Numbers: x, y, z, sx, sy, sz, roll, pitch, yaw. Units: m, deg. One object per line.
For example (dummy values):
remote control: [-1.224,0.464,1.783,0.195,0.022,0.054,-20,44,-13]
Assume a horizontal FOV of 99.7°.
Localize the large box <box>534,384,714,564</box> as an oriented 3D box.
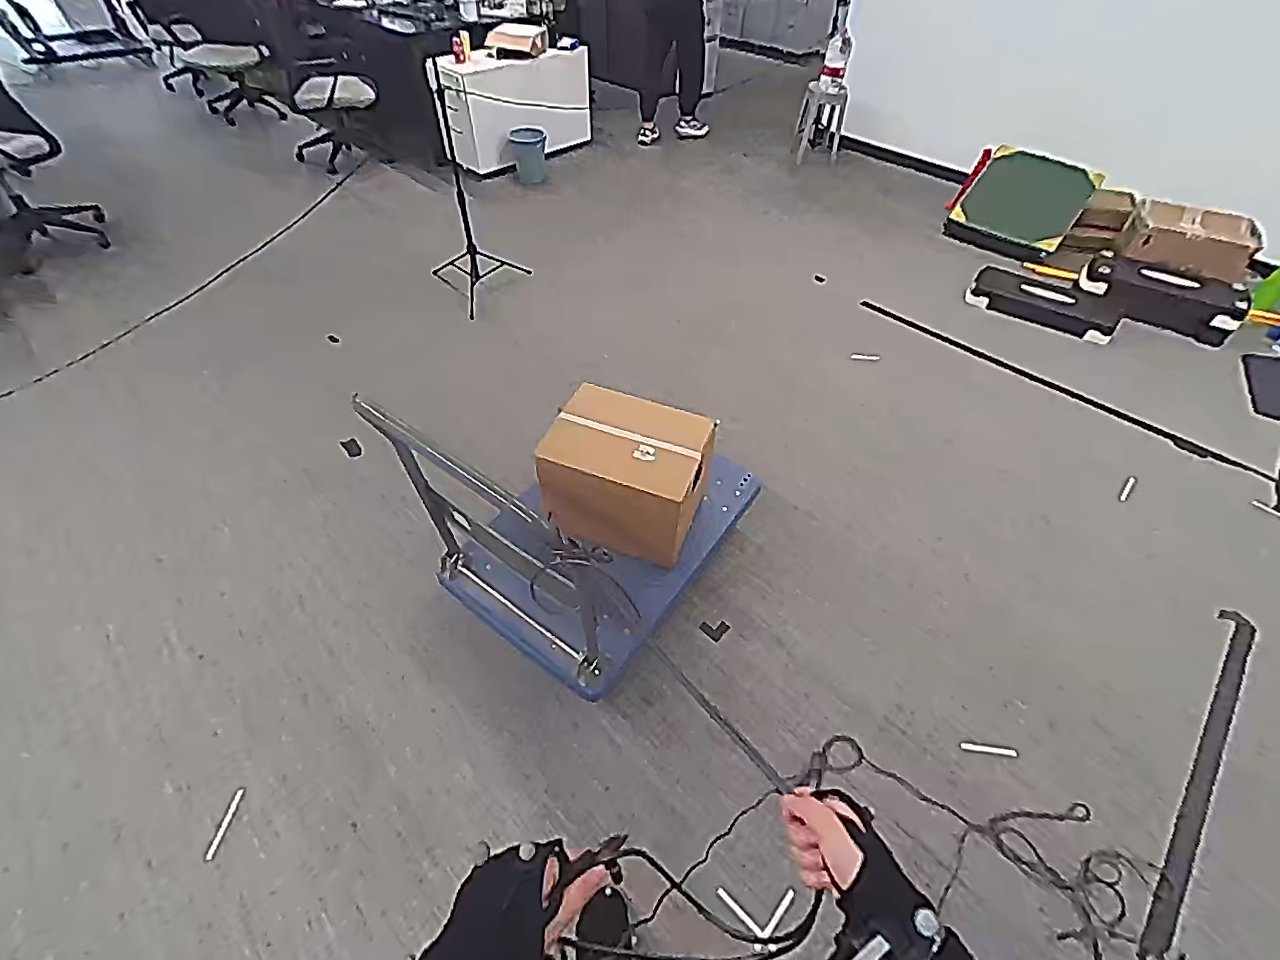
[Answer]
large box: [-0.042,-0.017,1.528,0.408,0.320,0.320,18,52,11]
